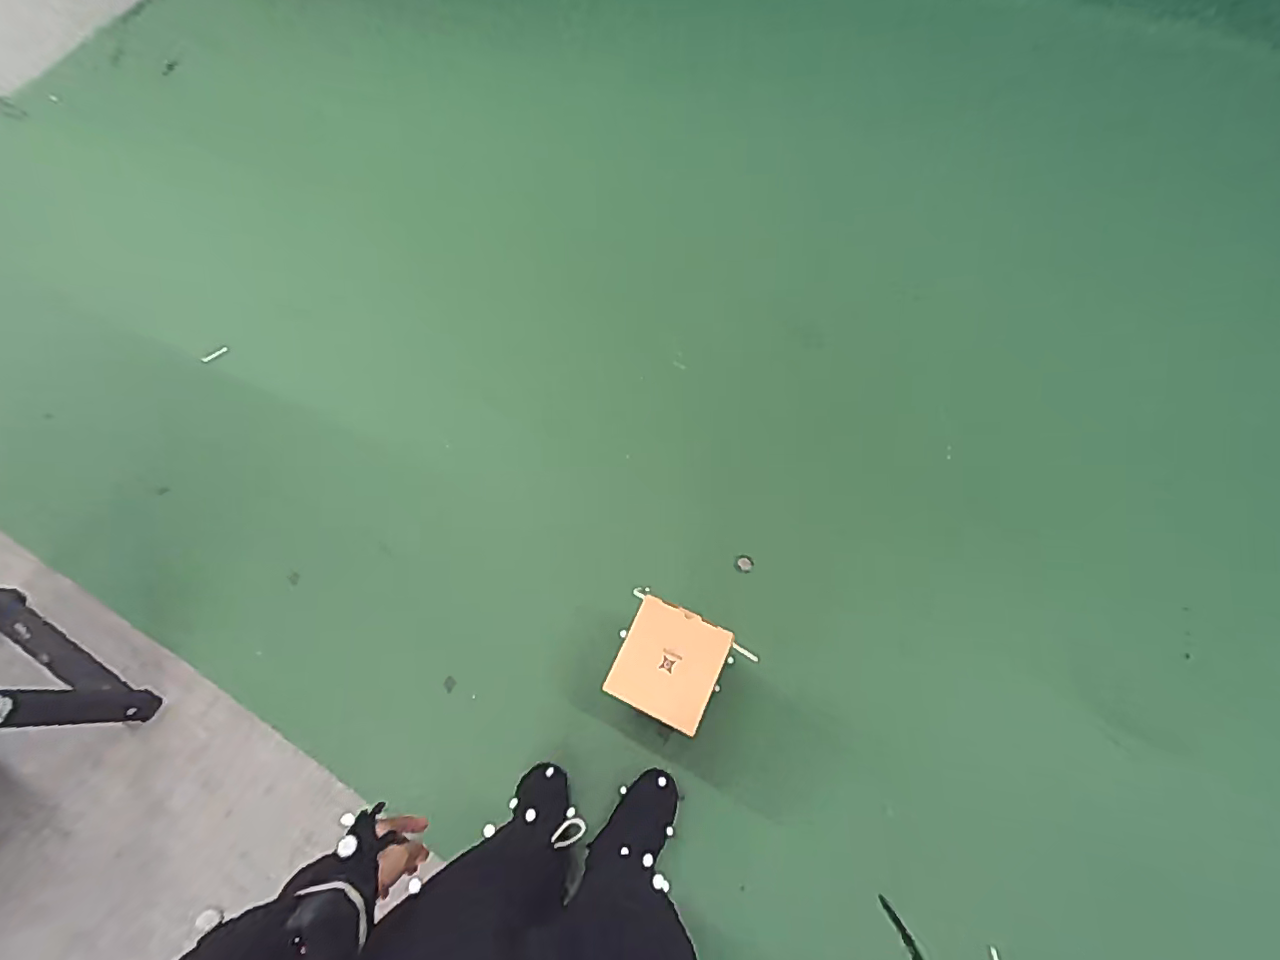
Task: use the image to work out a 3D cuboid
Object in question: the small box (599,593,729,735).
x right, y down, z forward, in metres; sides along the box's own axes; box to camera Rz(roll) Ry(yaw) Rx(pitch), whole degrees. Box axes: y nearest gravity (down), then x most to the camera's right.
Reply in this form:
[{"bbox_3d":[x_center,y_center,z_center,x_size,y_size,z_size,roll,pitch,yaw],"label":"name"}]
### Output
[{"bbox_3d":[0.049,0.327,0.965,0.168,0.176,0.179,23,72,13],"label":"small box"}]
